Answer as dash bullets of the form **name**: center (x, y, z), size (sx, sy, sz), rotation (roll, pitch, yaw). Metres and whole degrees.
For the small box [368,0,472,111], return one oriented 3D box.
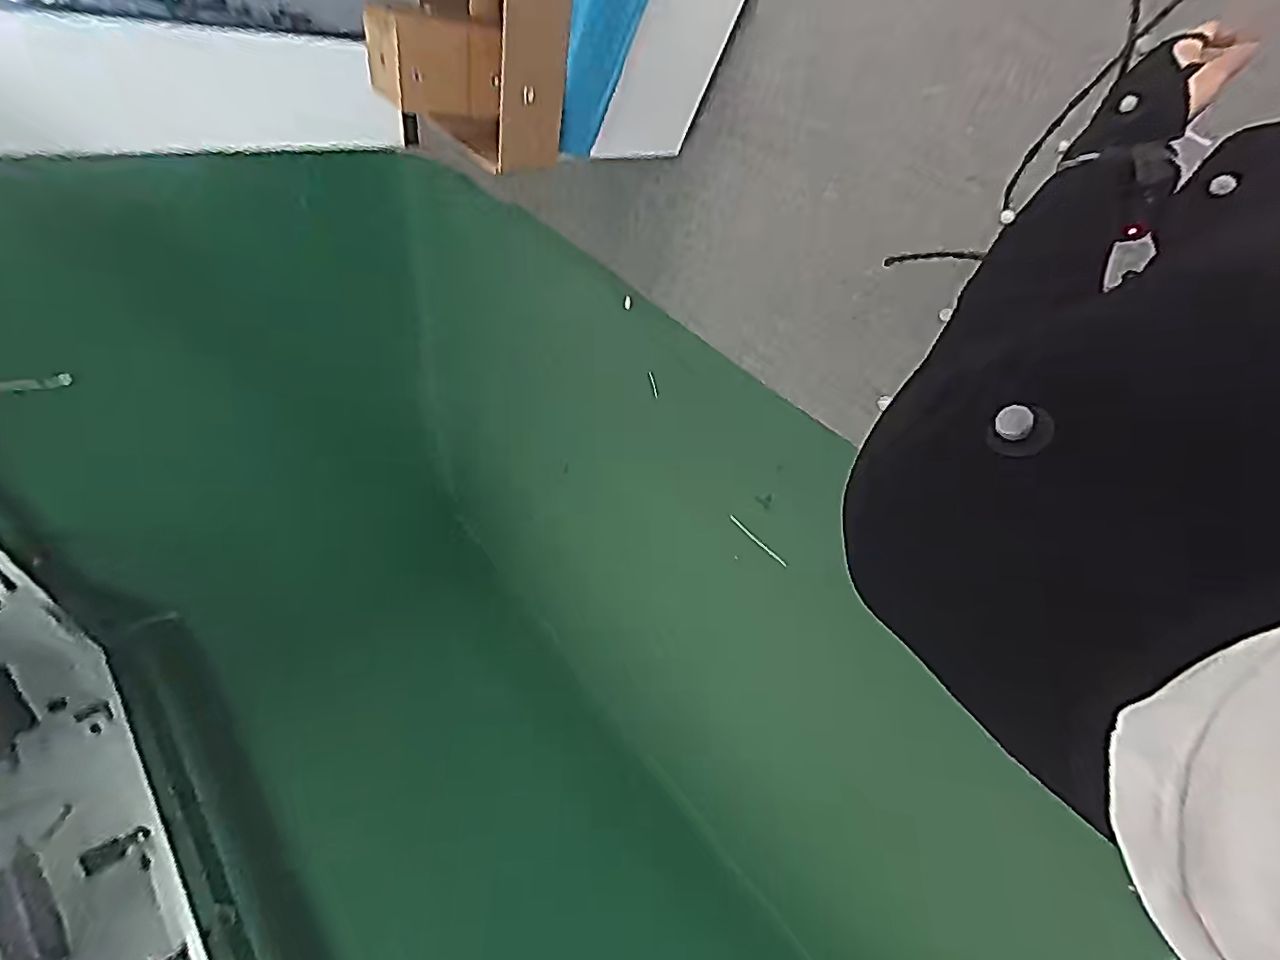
- **small box**: center (-0.505, -0.986, 1.257), size (0.168, 0.176, 0.179), rotation (45, 139, 25)
